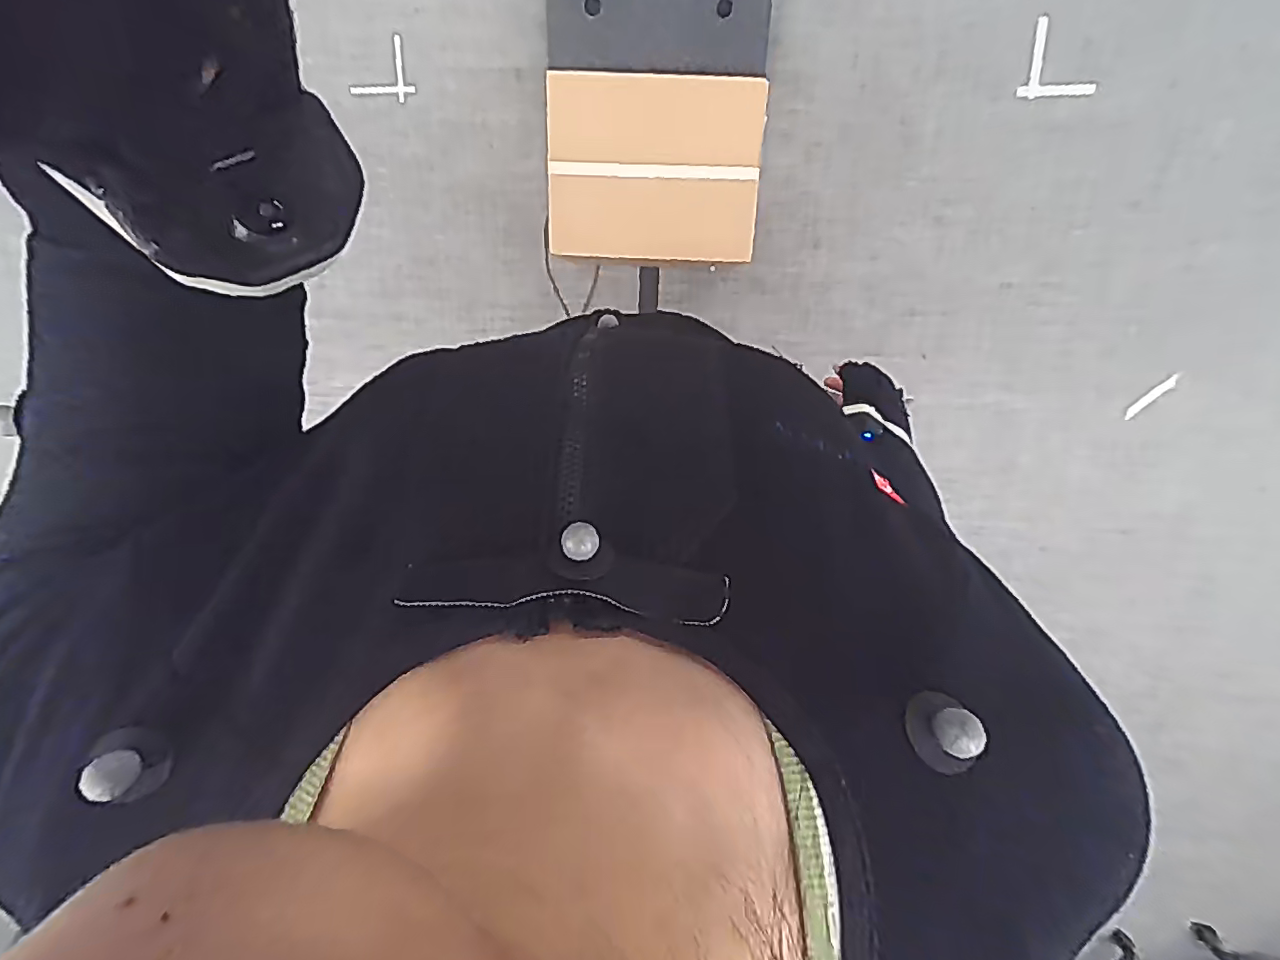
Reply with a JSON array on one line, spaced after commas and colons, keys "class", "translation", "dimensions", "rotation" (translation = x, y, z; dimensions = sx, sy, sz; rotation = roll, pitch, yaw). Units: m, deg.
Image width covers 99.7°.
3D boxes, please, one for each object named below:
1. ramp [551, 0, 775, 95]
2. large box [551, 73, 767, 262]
[{"class": "ramp", "translation": [0.054, -1.229, 1.083], "dimensions": [0.509, 0.206, 0.991], "rotation": [0, 106, 1]}, {"class": "large box", "translation": [0.038, -0.646, 1.174], "dimensions": [0.408, 0.320, 0.320], "rotation": [2, 109, 1]}]
